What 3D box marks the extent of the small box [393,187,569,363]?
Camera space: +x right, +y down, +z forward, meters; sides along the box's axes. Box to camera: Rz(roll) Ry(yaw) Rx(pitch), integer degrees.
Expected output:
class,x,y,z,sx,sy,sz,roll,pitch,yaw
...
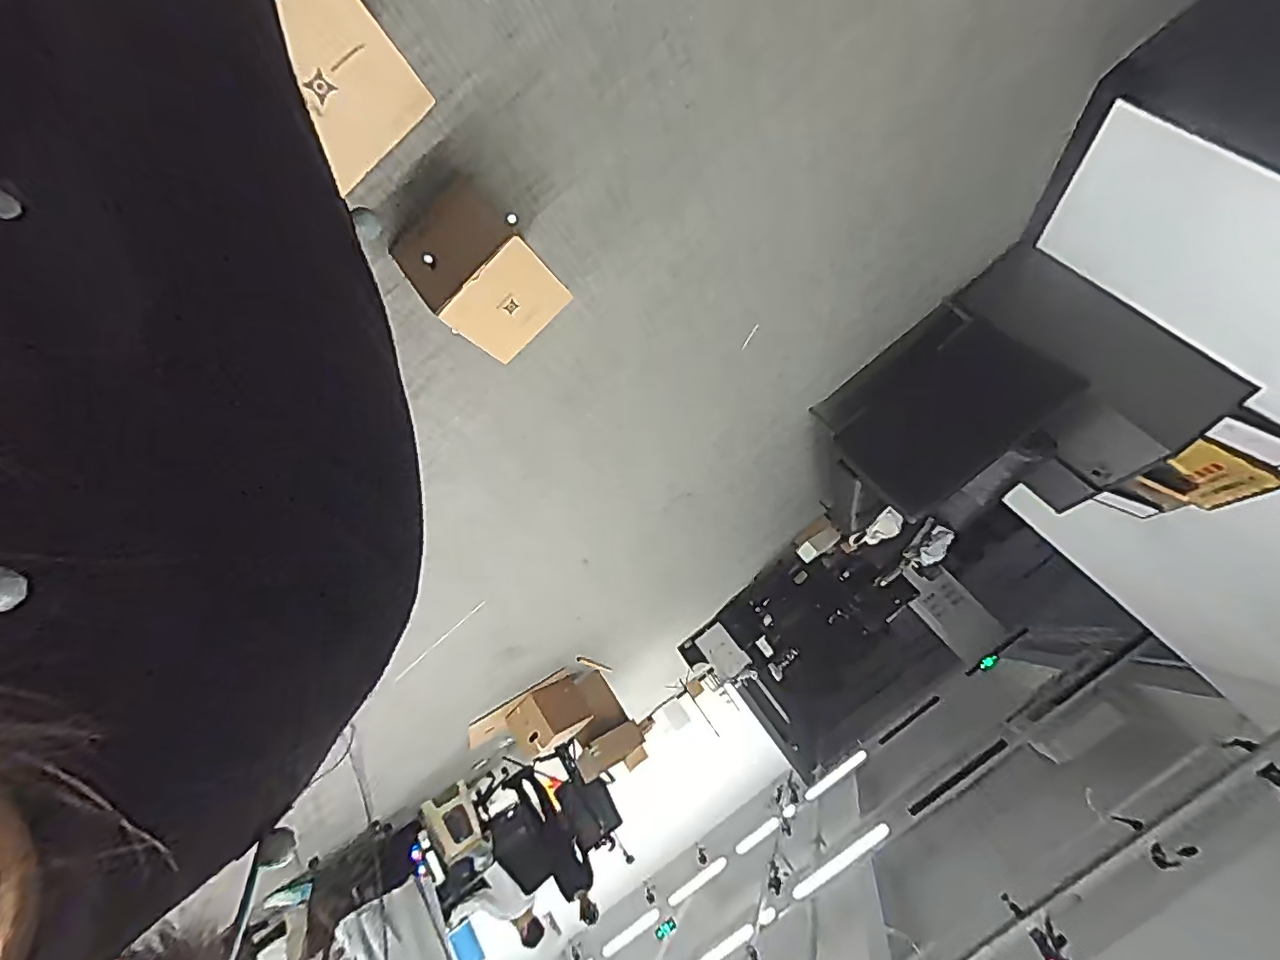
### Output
class,x,y,z,sx,sy,sz,roll,pitch,yaw
small box,-0.252,-0.327,0.859,0.168,0.176,0.179,-41,157,8
